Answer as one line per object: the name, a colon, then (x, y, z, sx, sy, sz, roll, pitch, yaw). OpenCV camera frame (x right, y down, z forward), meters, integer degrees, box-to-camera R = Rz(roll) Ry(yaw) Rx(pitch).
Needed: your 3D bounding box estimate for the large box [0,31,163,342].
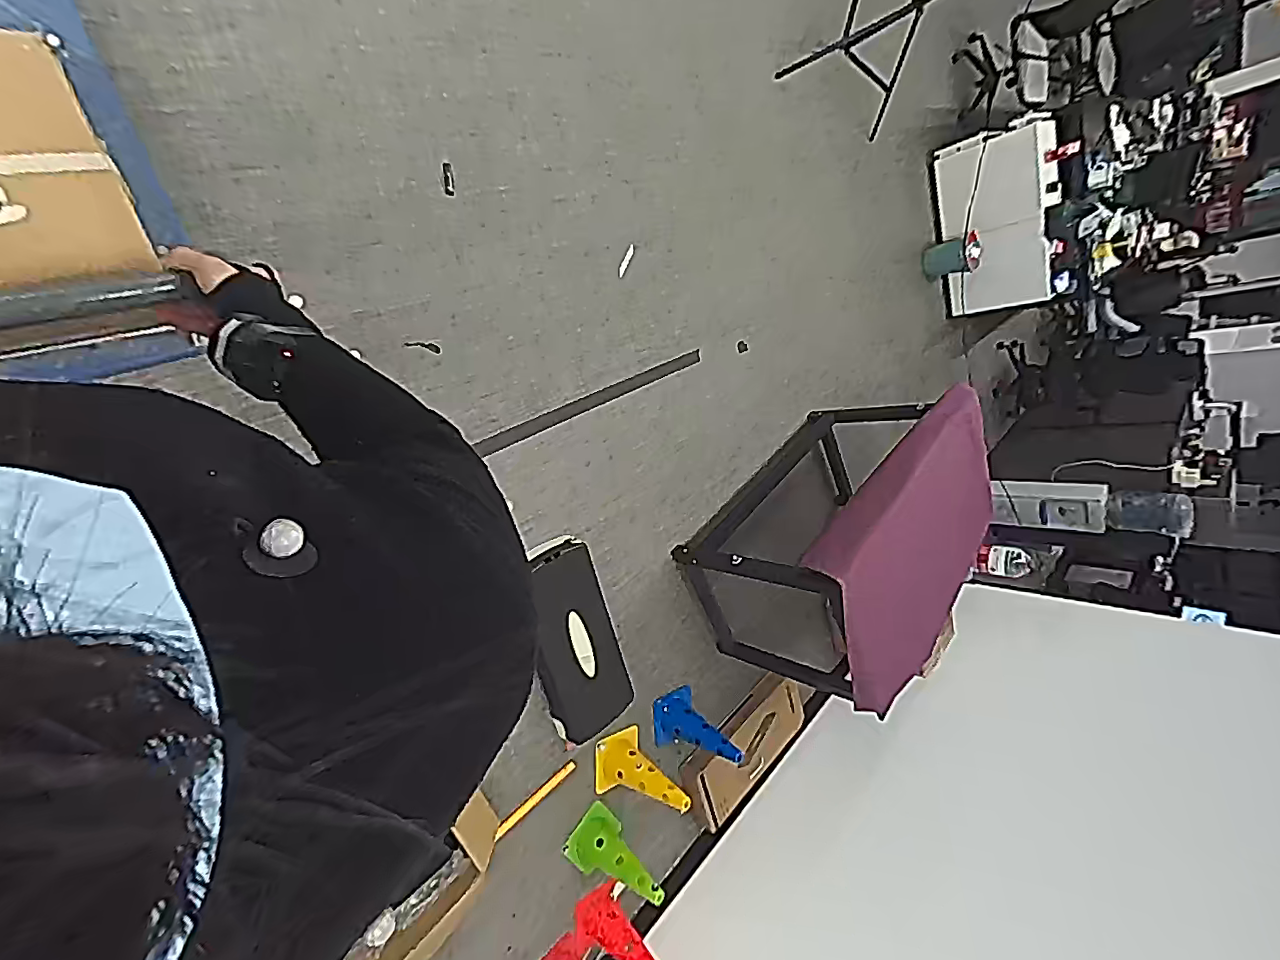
large box: (-0.976, -0.368, 0.742, 0.408, 0.320, 0.320, -29, 112, -37)
